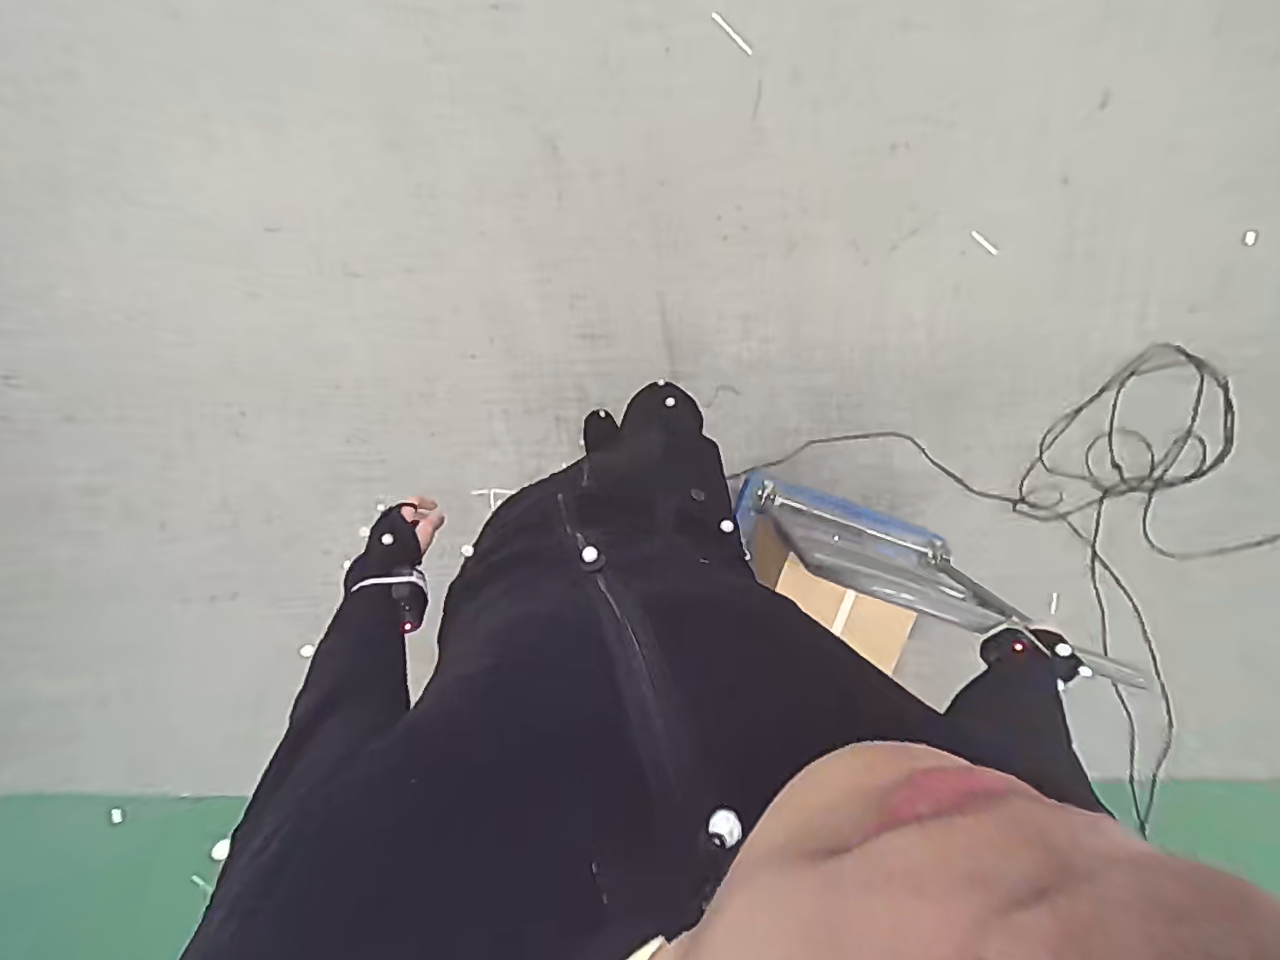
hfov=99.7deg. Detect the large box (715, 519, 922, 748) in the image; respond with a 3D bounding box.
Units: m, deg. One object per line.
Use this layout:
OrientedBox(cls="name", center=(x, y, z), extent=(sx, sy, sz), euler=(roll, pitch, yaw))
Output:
OrientedBox(cls="large box", center=(0.403, 0.348, 1.318), extent=(0.320, 0.320, 0.408), euler=(17, 98, -2))
